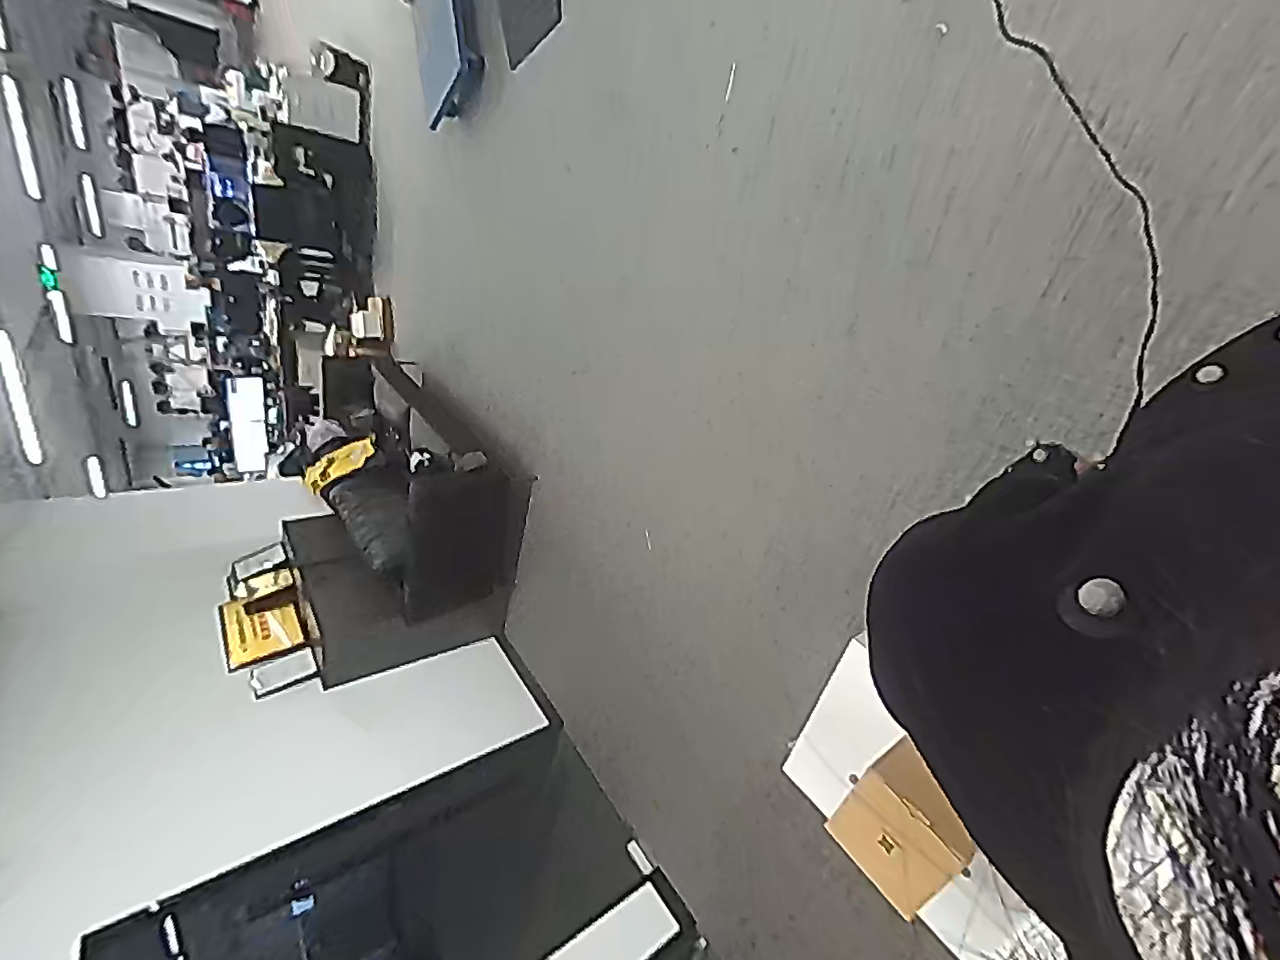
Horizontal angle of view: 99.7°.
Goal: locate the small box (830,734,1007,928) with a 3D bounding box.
[{"bbox_3d":[0.451,0.557,0.877,0.168,0.176,0.179,41,126,39],"label":"small box"}]
